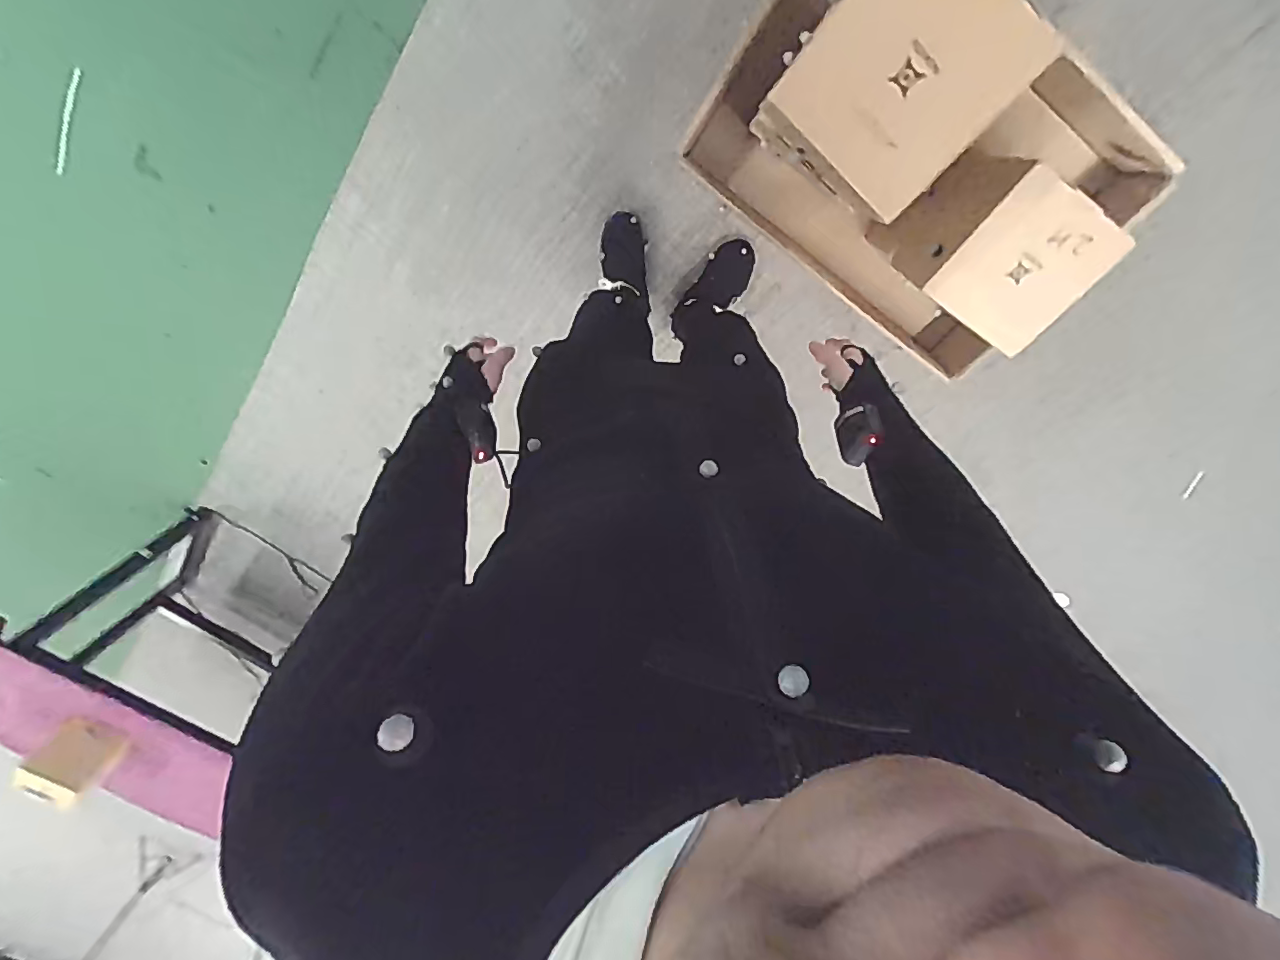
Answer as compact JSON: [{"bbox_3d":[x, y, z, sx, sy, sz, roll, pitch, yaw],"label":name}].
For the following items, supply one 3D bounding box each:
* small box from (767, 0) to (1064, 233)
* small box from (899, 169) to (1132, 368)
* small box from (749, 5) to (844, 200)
[{"bbox_3d":[0.242,-0.377,0.527,0.168,0.176,0.179,39,118,-14],"label":"small box"},{"bbox_3d":[0.482,-0.290,0.733,0.168,0.176,0.179,31,120,-11],"label":"small box"},{"bbox_3d":[0.281,-0.540,0.808,0.168,0.176,0.179,34,119,-11],"label":"small box"}]
